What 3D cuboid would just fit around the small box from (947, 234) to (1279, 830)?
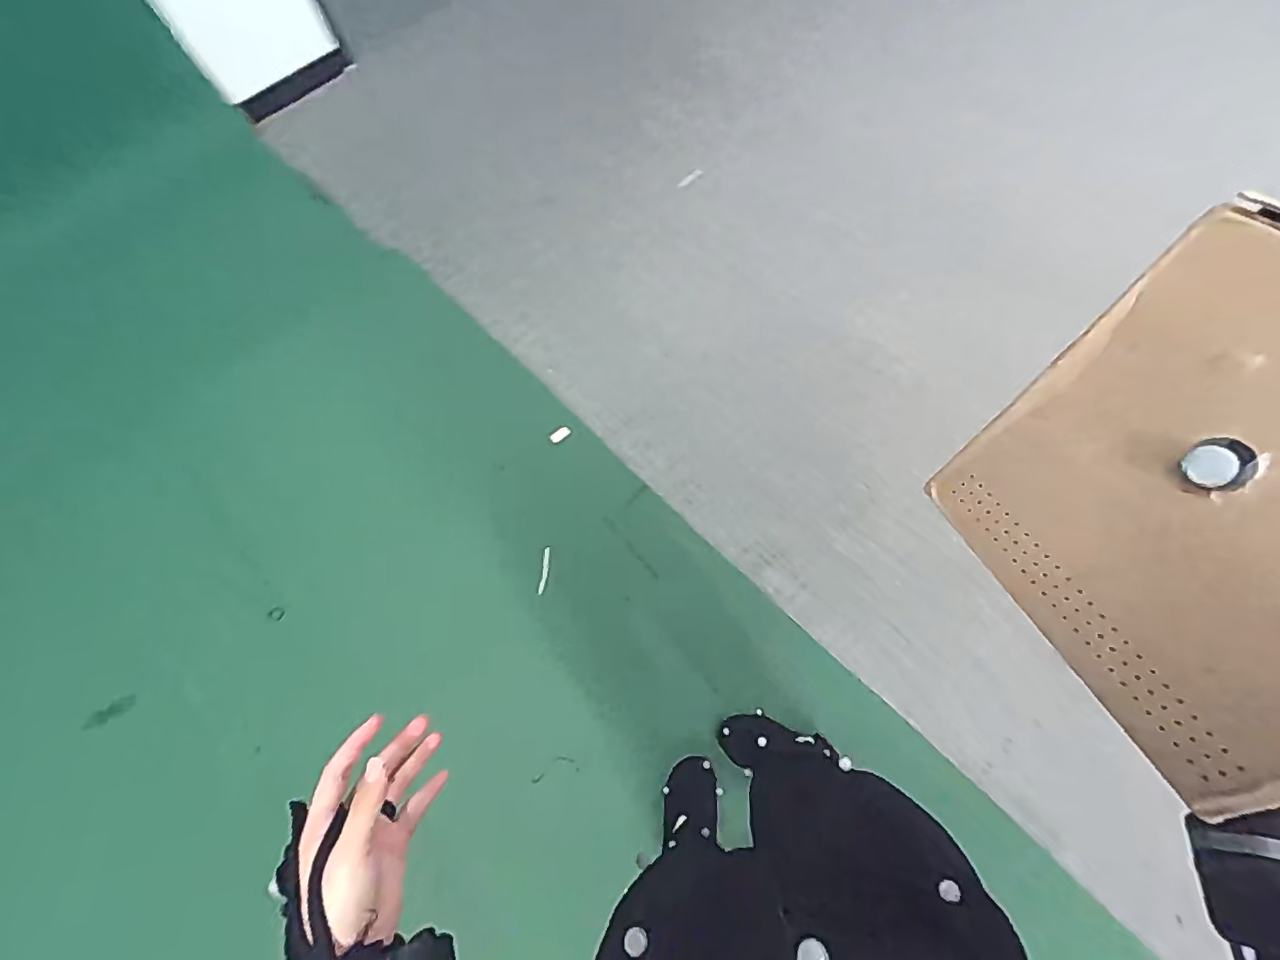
[{"bbox_3d":[0.292,0.021,0.246,0.168,0.176,0.179,-5,50,-27],"label":"small box"}]
